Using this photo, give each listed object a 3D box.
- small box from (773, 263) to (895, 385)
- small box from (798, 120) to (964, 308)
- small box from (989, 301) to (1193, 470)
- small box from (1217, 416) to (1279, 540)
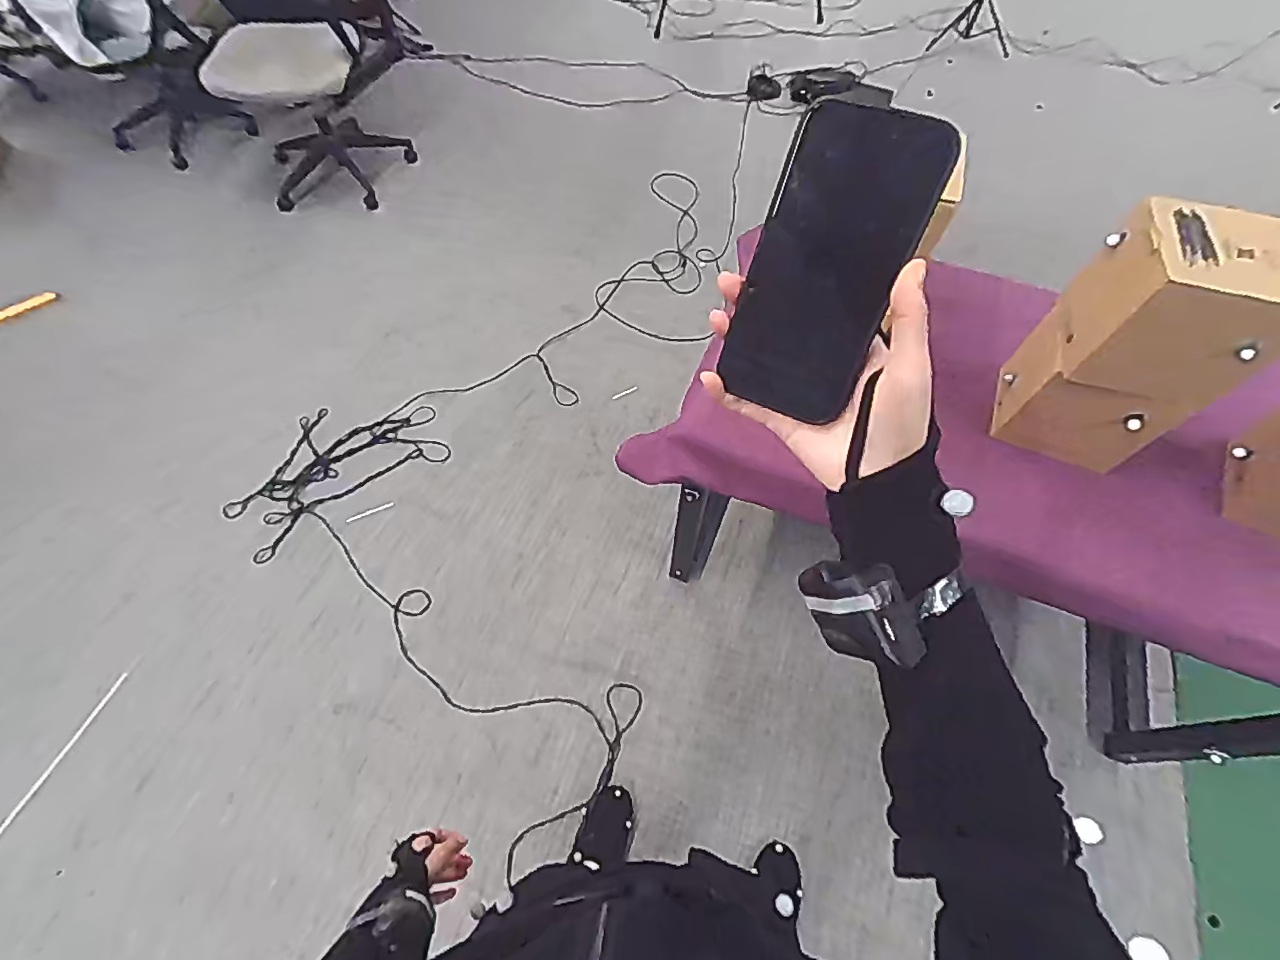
[{"bbox_3d":[0.339,-0.294,0.930,0.168,0.176,0.179,22,62,13],"label":"small box"},{"bbox_3d":[0.342,-0.383,0.792,0.168,0.176,0.179,18,62,10],"label":"small box"},{"bbox_3d":[0.686,-0.138,0.836,0.179,0.176,0.168,21,62,12],"label":"small box"},{"bbox_3d":[0.989,-0.005,0.759,0.179,0.176,0.168,27,63,15],"label":"small box"}]
